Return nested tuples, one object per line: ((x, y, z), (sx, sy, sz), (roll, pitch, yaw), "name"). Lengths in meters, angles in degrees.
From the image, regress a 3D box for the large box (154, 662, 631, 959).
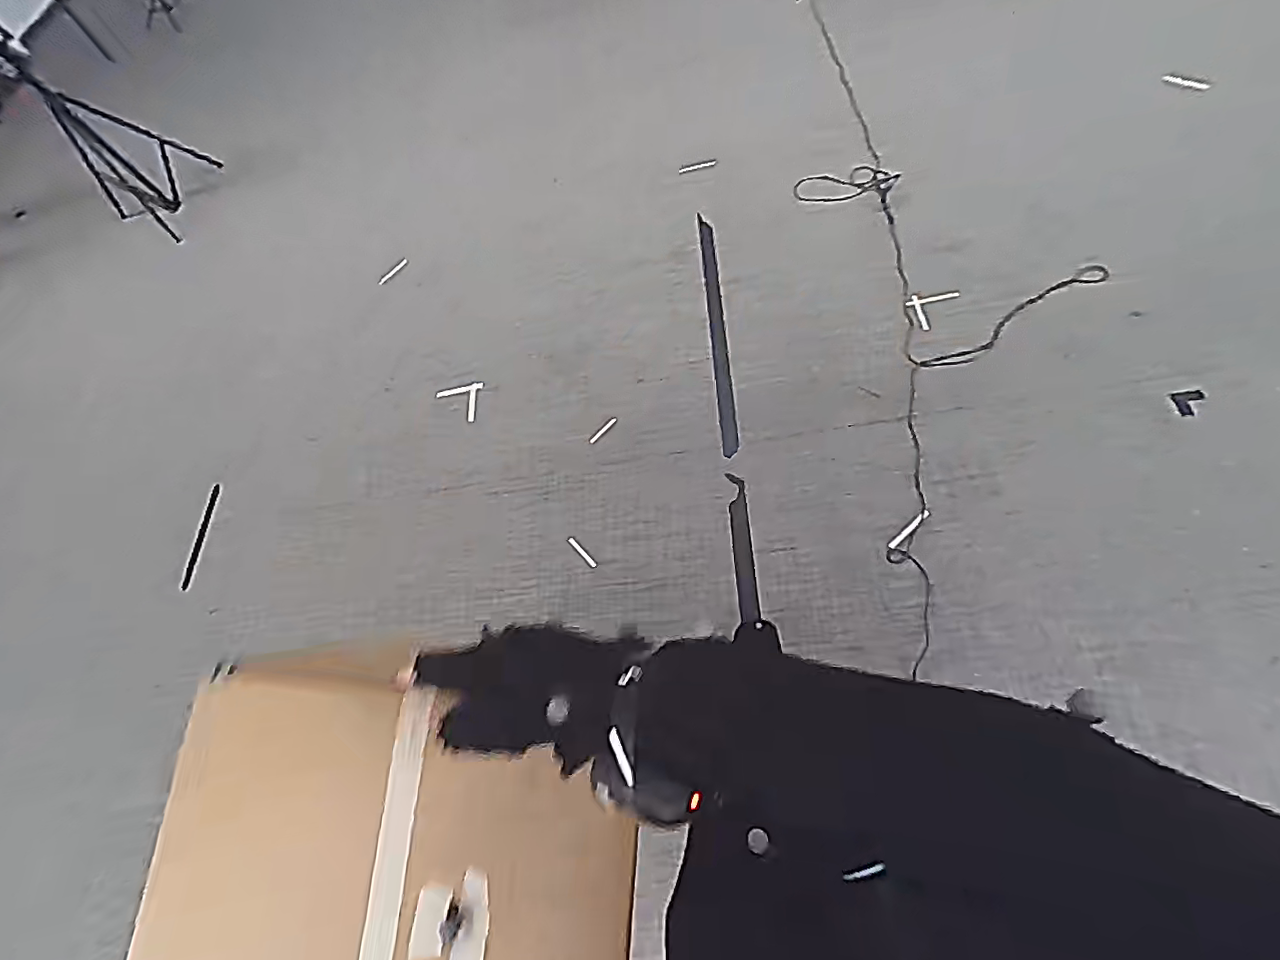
((-0.168, 0.387, 0.488), (0.320, 0.320, 0.408), (3, 74, -2), "large box")
